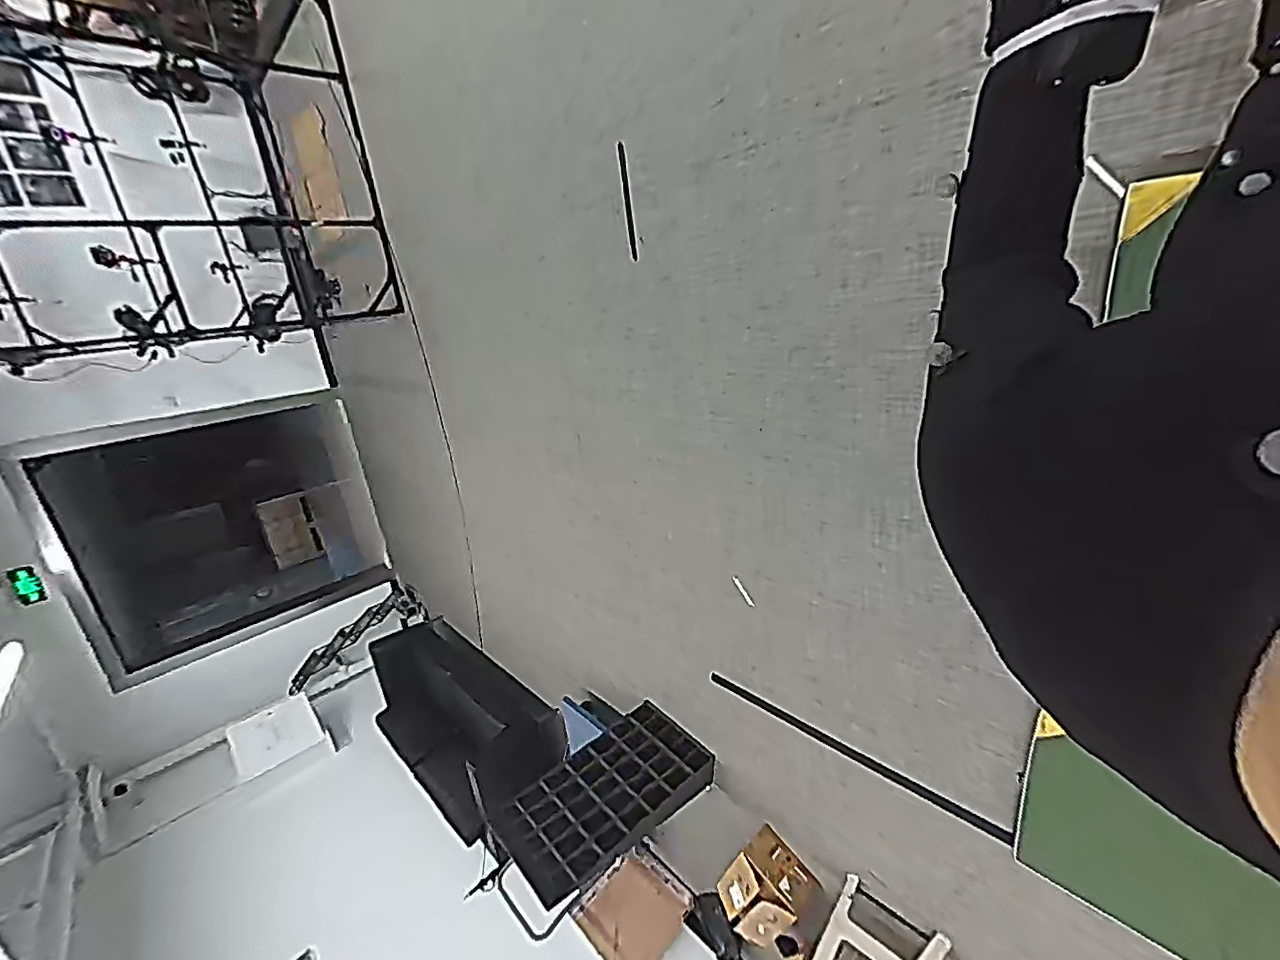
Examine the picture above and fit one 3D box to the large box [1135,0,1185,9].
[{"bbox_3d":[0.514,-0.528,0.268,0.408,0.320,0.320,9,124,45],"label":"large box"}]
